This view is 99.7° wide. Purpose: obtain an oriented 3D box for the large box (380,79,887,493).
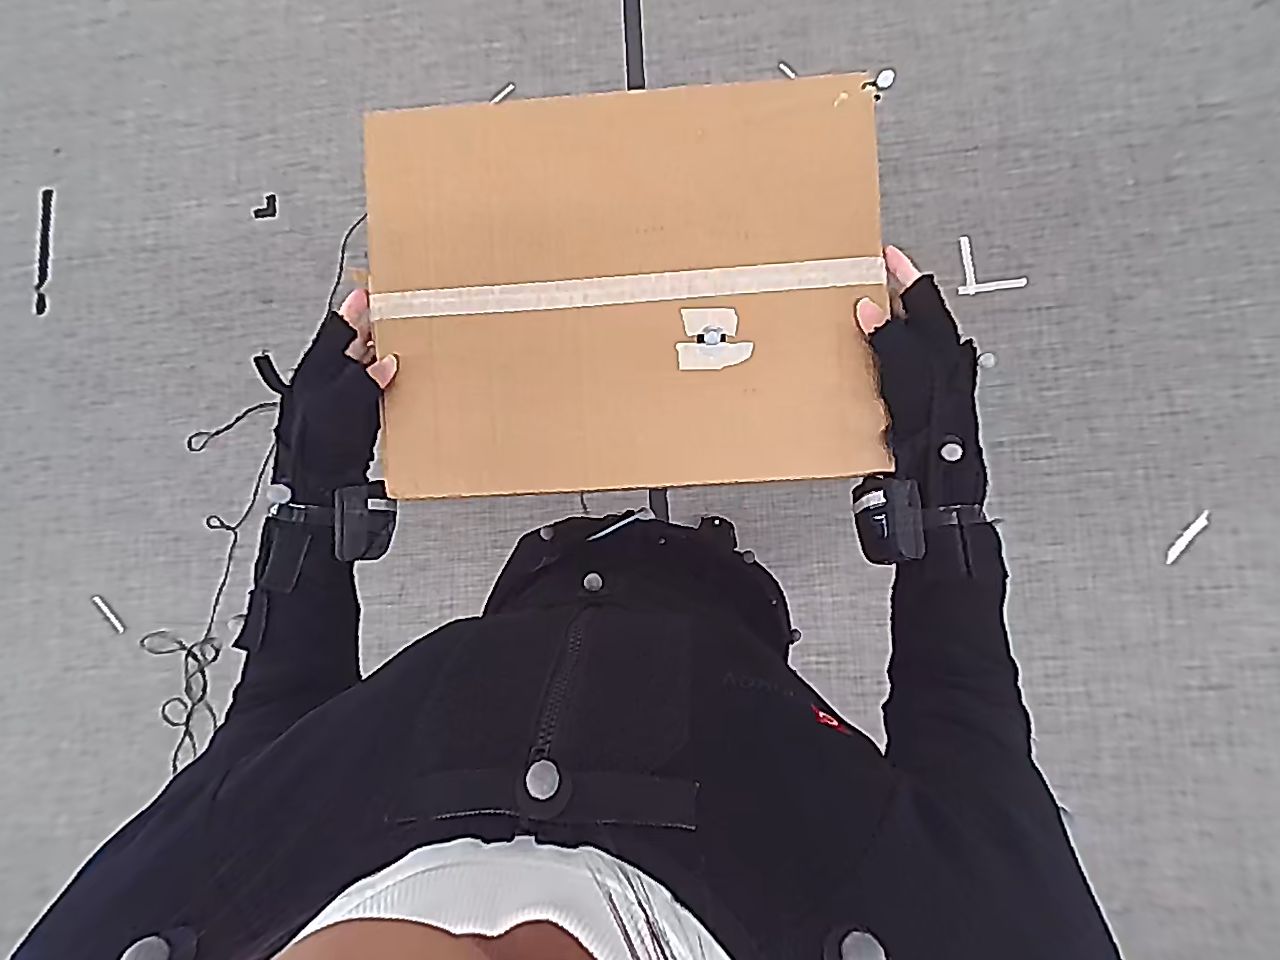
[{"bbox_3d":[-0.006,-0.158,0.589,0.408,0.320,0.320,-3,91,1],"label":"large box"}]
